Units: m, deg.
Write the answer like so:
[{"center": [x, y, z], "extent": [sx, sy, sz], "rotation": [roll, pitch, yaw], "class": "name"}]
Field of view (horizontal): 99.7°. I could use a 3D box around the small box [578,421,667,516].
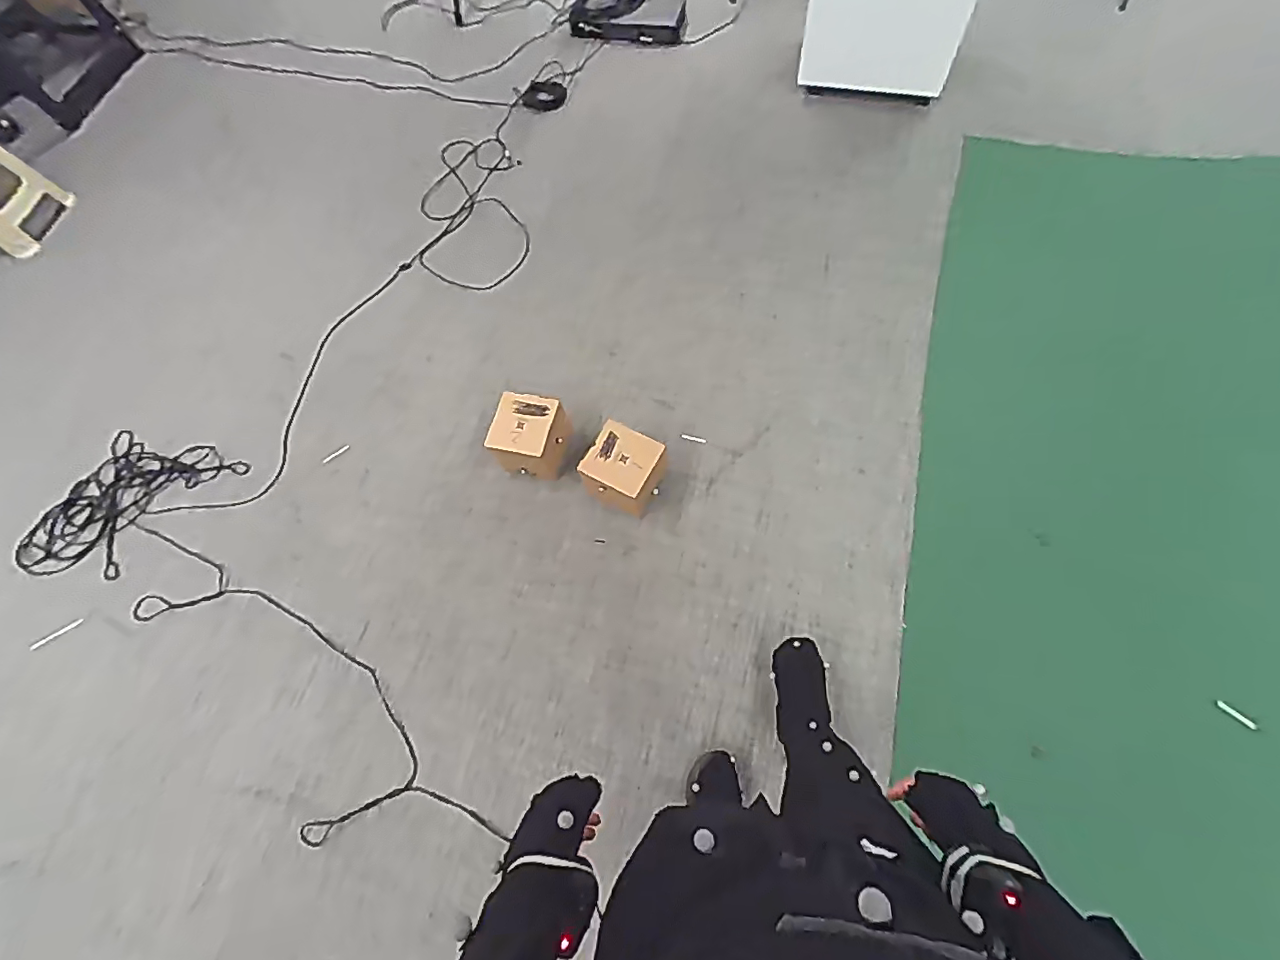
[{"center": [-0.041, -0.024, 1.460], "extent": [0.179, 0.176, 0.168], "rotation": [27, 73, 15], "class": "small box"}]
